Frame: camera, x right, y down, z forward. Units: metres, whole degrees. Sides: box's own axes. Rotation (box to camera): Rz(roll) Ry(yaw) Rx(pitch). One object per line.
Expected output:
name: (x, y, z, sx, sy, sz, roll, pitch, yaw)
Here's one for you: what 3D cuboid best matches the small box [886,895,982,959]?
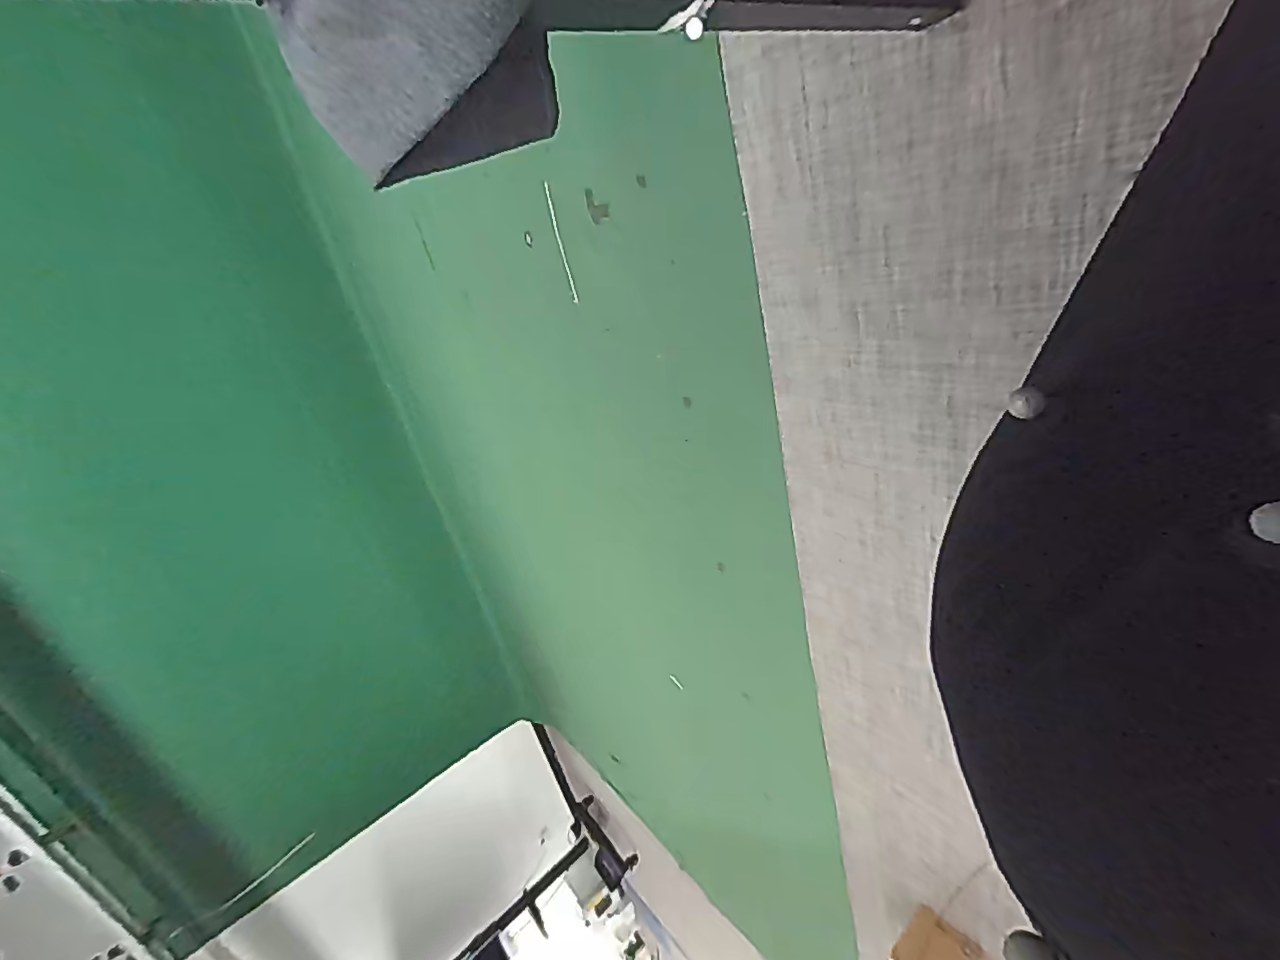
small box: (0.773, 1.256, 1.419, 0.168, 0.176, 0.179, 15, 127, 52)
